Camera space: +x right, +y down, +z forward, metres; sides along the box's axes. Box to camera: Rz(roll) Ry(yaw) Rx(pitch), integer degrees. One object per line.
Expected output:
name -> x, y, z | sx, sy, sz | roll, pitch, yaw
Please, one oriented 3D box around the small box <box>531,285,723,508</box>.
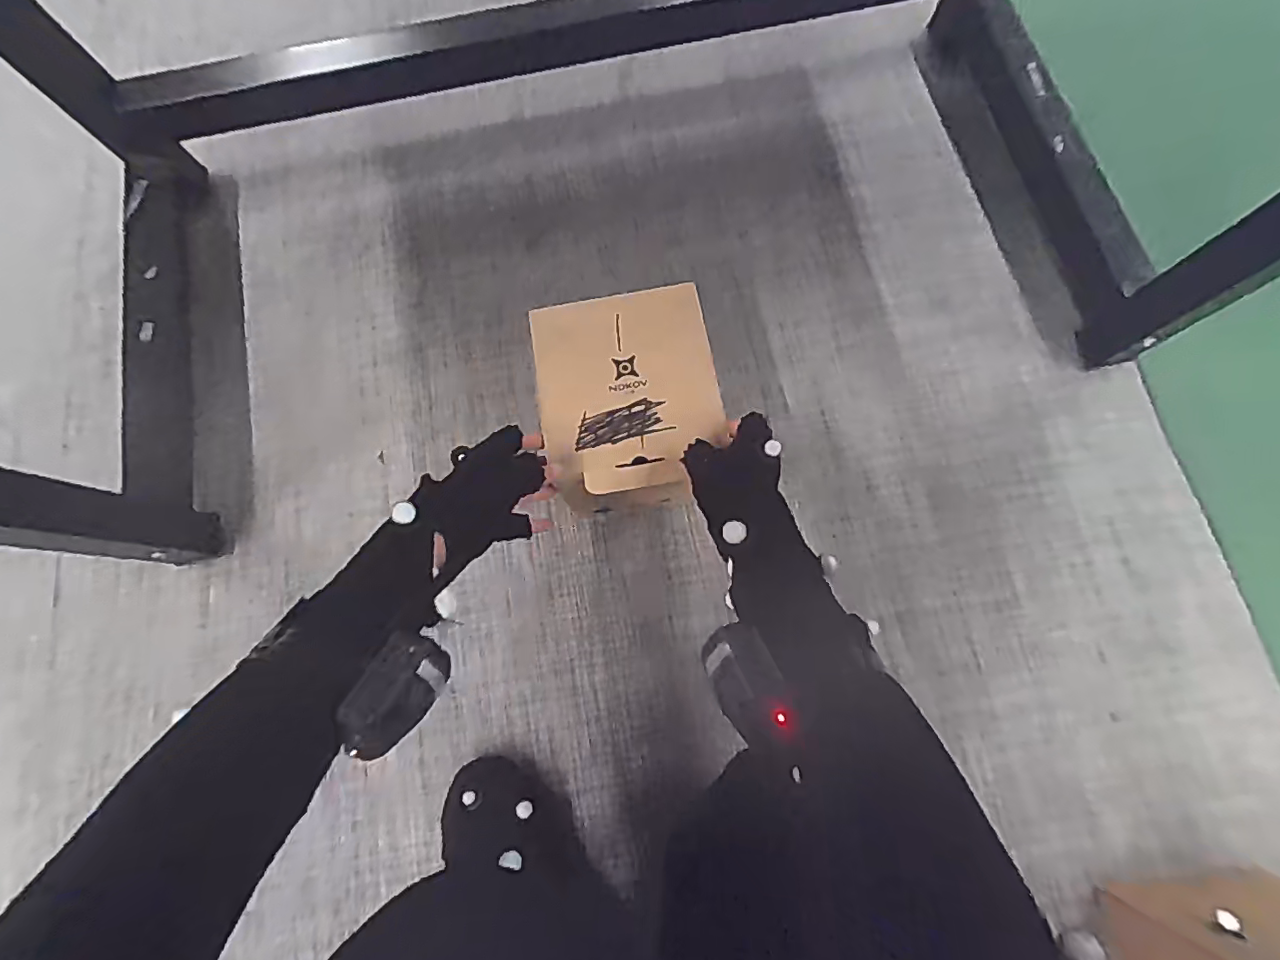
small box -> -0.010, -0.073, 0.579 | 0.168, 0.176, 0.179 | -9, 73, 1
